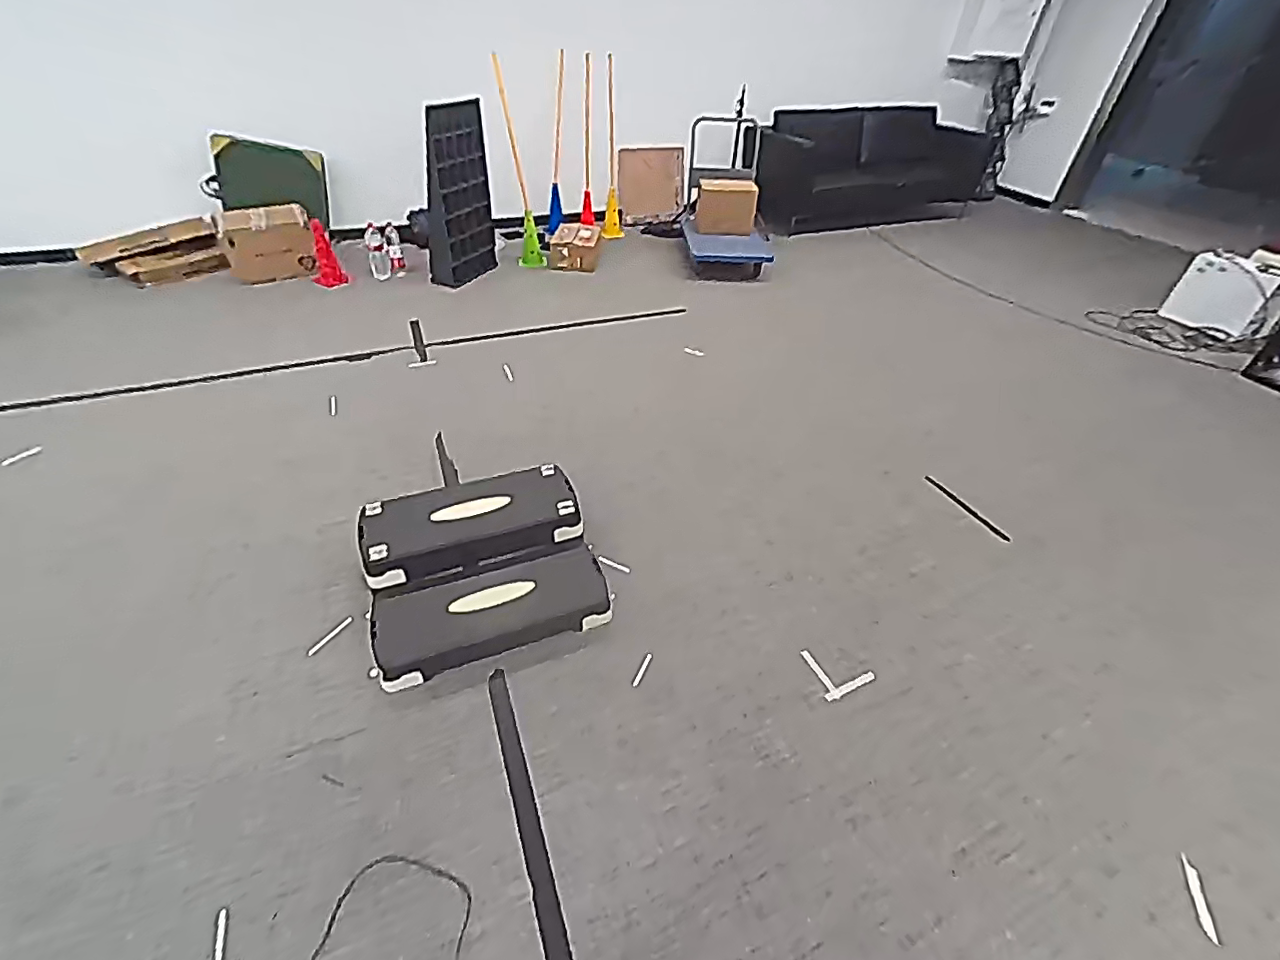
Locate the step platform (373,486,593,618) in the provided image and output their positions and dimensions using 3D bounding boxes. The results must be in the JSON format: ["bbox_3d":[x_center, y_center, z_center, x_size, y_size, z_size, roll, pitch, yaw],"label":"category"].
[{"bbox_3d":[-0.501,0.219,1.783,0.684,0.204,0.286,-10,41,-16],"label":"step platform"}]
